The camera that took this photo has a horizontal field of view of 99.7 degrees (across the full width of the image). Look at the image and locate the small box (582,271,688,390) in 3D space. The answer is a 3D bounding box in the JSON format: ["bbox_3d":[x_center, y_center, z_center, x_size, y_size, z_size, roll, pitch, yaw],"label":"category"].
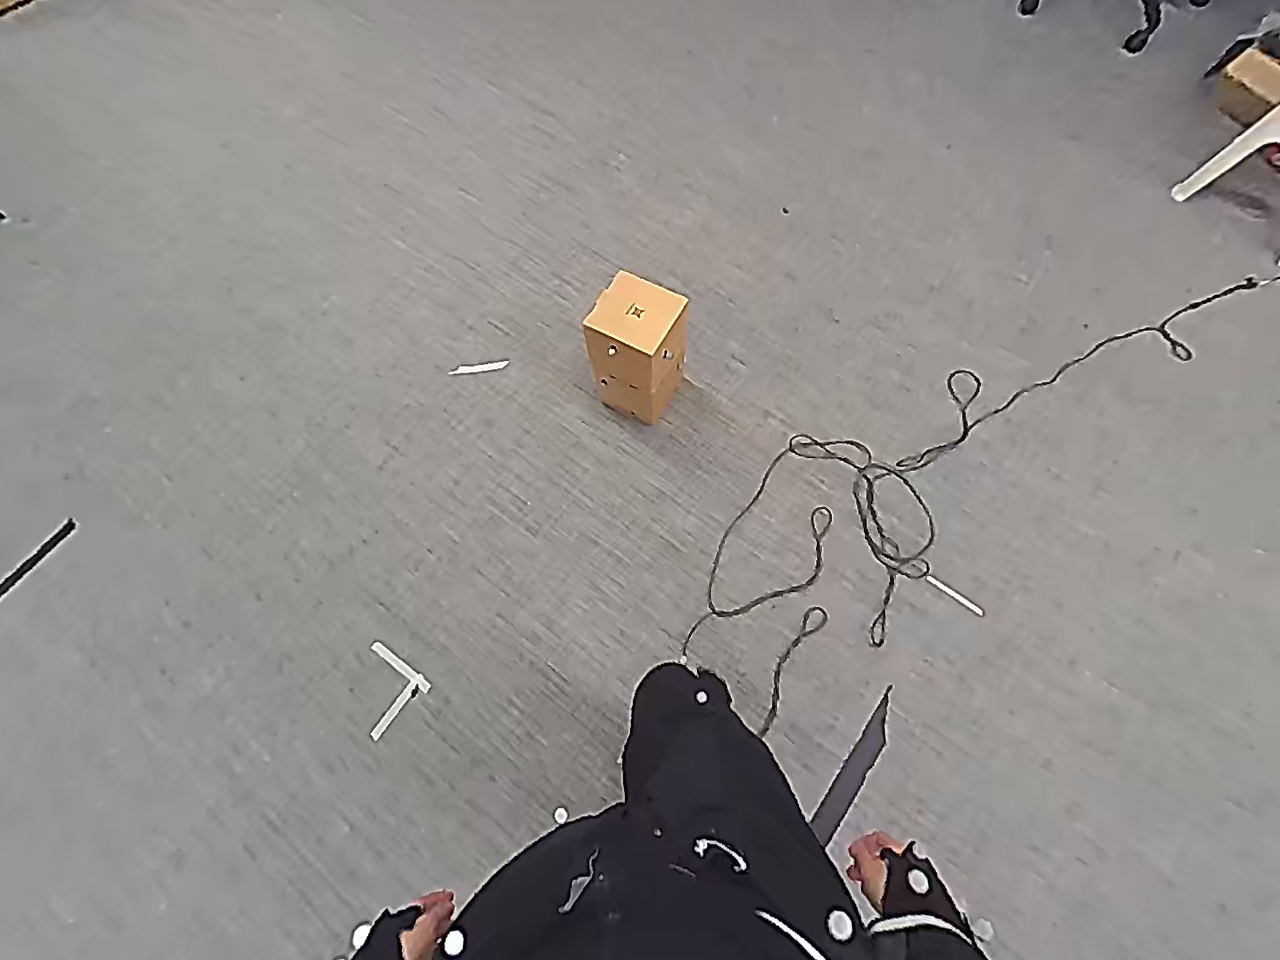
[{"bbox_3d":[-0.005,-0.329,1.224,0.179,0.176,0.168,27,73,12],"label":"small box"}]
